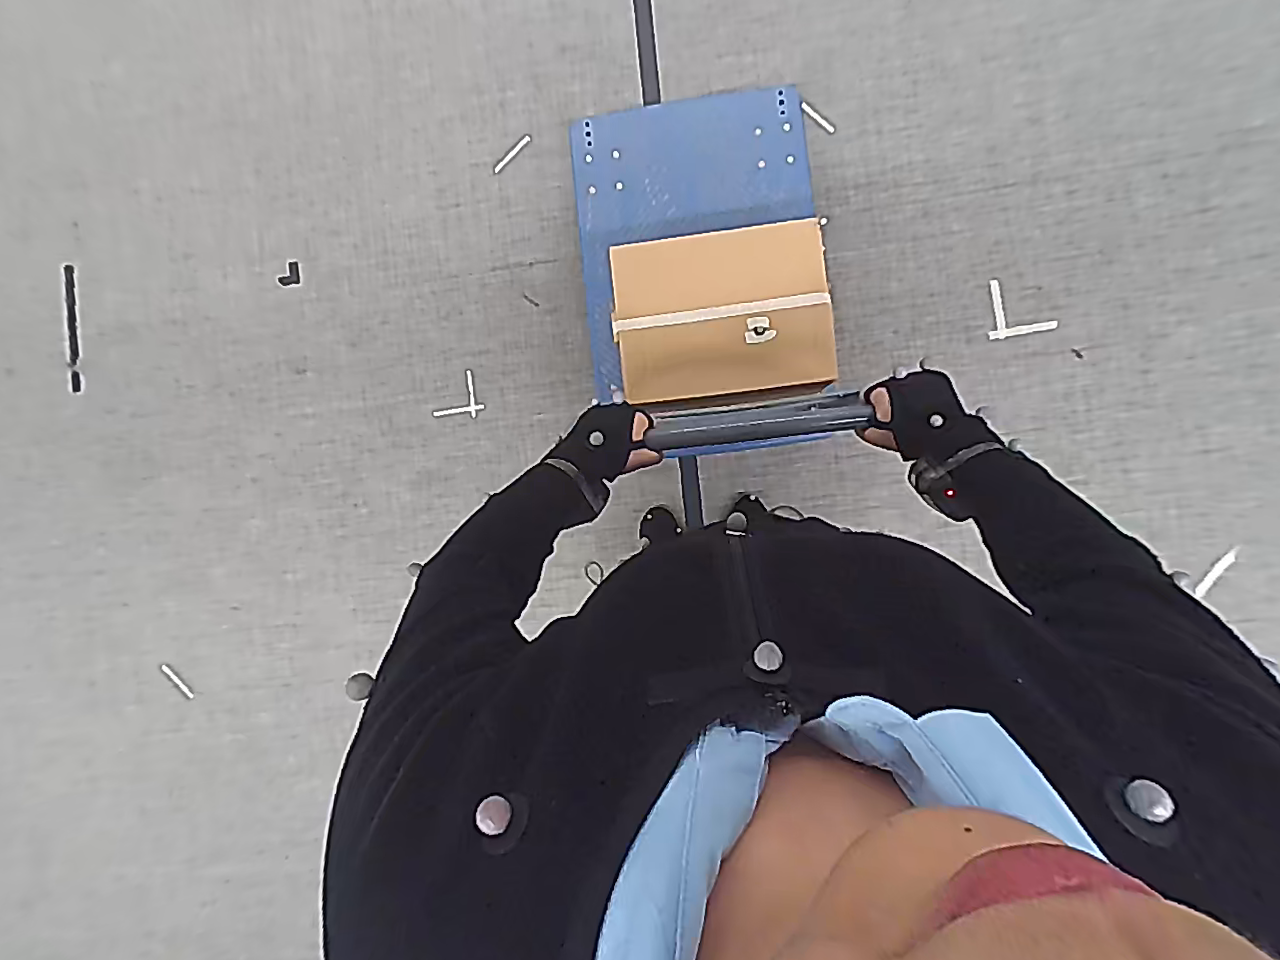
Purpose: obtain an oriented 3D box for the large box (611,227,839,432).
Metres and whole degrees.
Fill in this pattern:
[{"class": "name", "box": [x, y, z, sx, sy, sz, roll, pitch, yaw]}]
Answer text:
[{"class": "large box", "box": [0.167, -0.296, 1.169, 0.408, 0.320, 0.320, -6, 89, 4]}]
